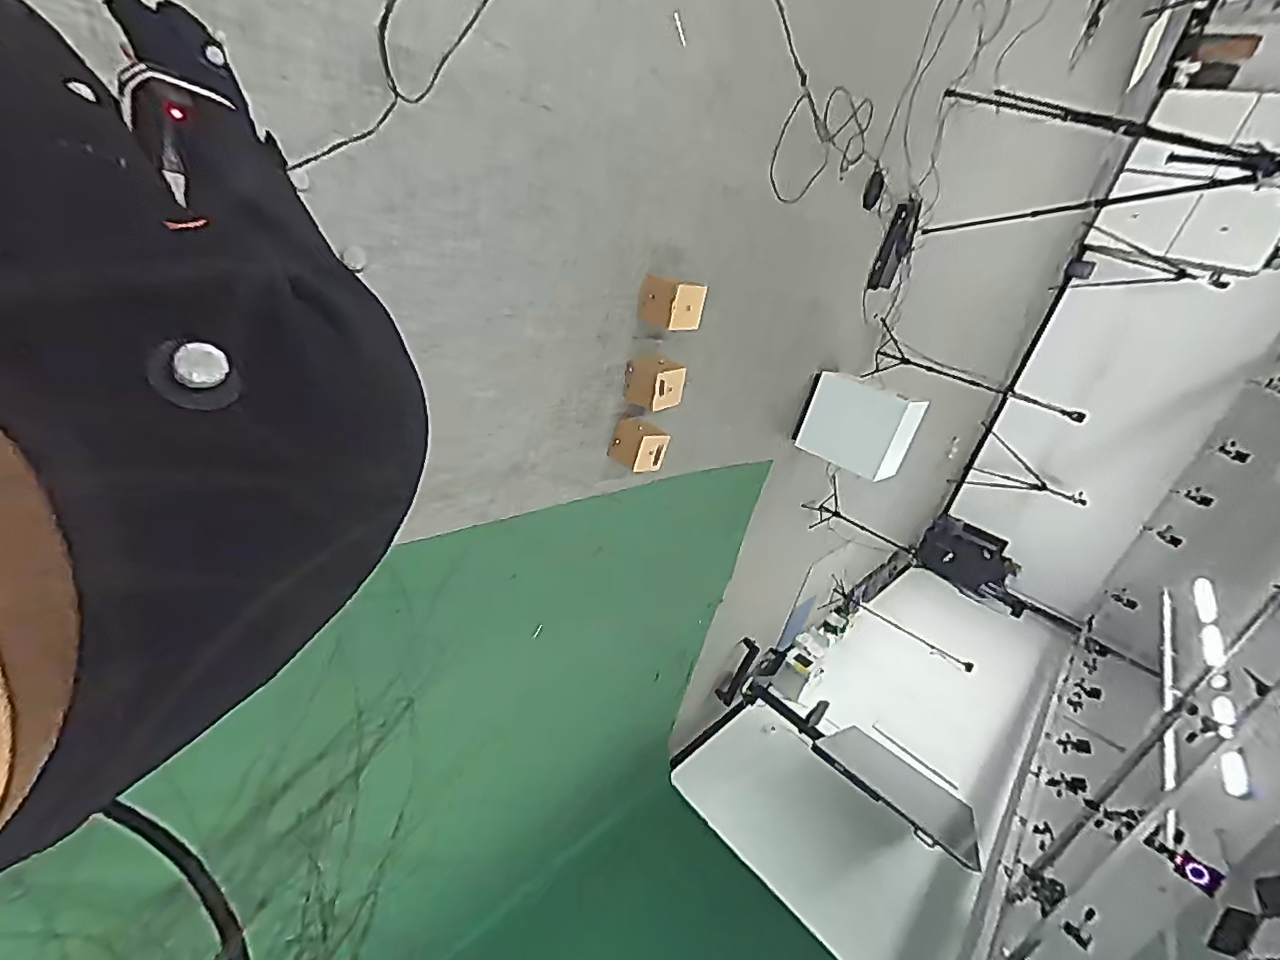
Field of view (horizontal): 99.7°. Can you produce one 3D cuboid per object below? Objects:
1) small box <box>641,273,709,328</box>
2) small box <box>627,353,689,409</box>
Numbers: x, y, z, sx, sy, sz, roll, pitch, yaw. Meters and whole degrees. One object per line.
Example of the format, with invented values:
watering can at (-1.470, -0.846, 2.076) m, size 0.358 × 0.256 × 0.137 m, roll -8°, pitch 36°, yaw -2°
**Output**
small box at (0.131, -0.684, 2.059) m, size 0.179 × 0.176 × 0.168 m, roll -16°, pitch 128°, yaw -42°
small box at (0.069, -0.405, 2.199) m, size 0.179 × 0.176 × 0.168 m, roll -22°, pitch 132°, yaw -41°
